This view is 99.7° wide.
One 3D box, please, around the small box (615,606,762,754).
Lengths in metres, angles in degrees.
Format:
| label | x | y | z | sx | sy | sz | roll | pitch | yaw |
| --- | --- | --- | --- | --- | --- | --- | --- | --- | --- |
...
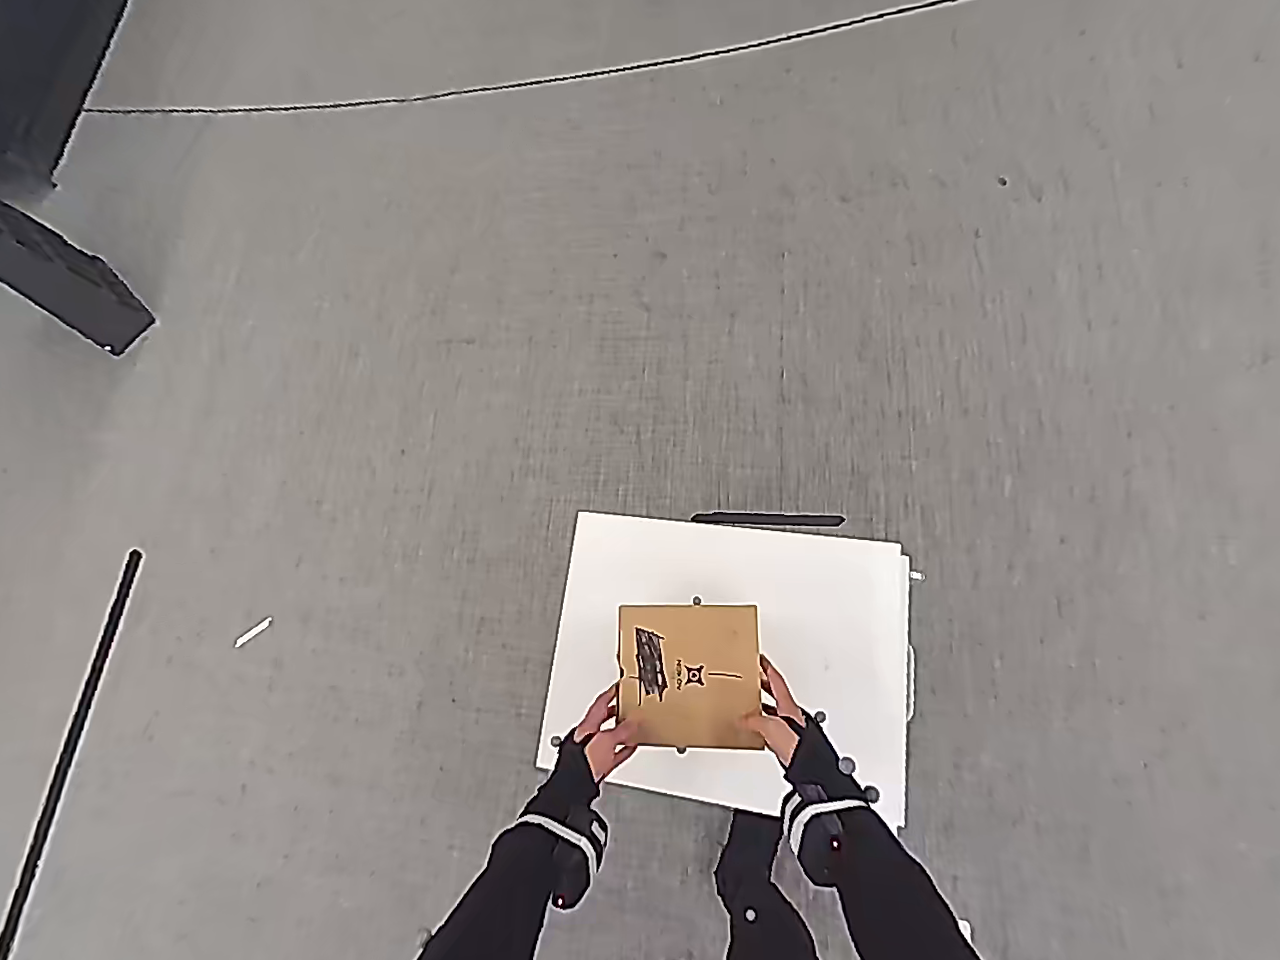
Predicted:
| label | x | y | z | sx | sy | sz | roll | pitch | yaw |
| --- | --- | --- | --- | --- | --- | --- | --- | --- | --- |
| small box | 0.072 | 0.262 | 0.731 | 0.179 | 0.176 | 0.168 | -2 | 73 | 9 |
